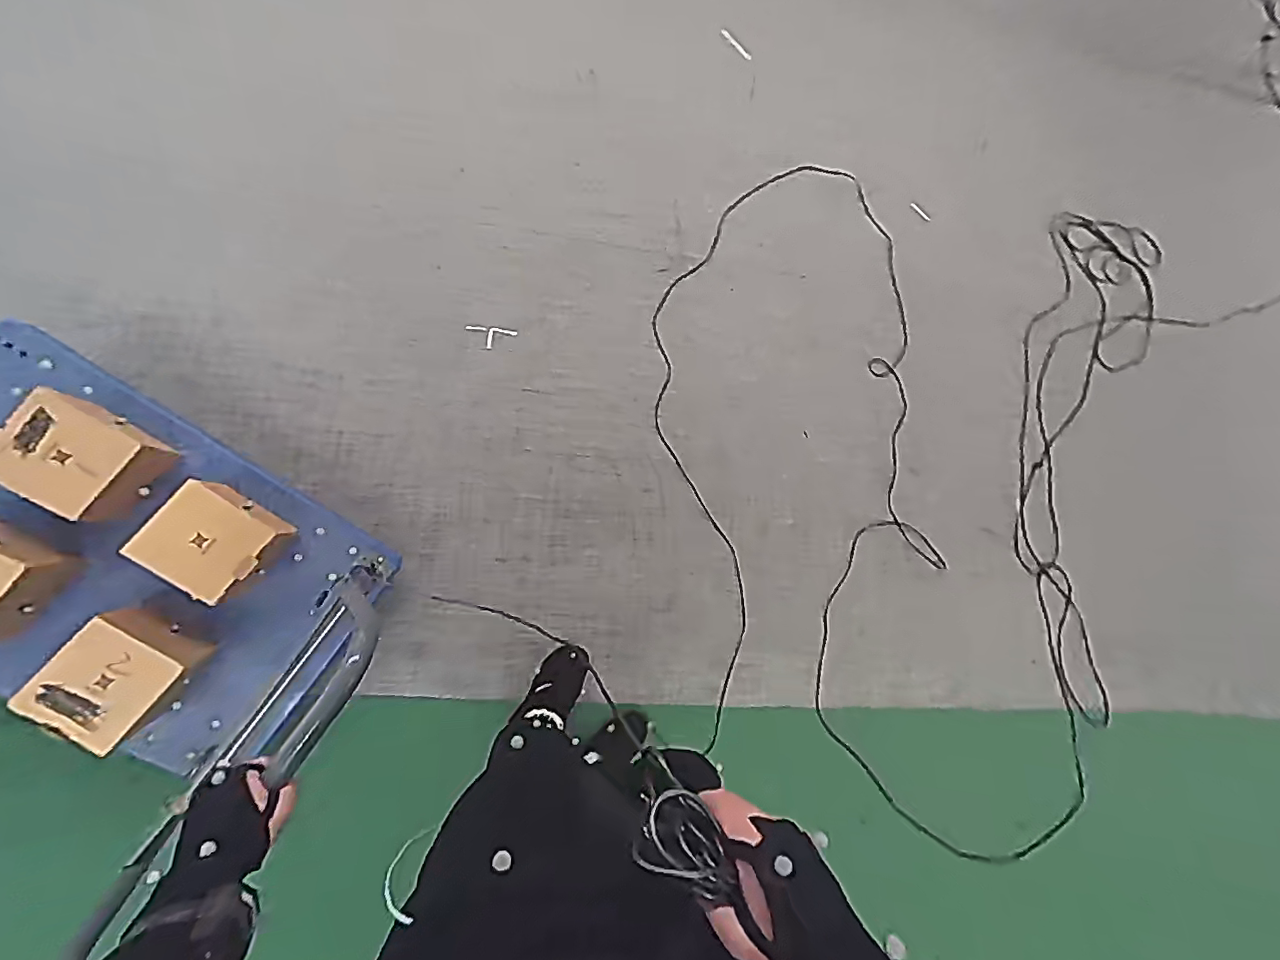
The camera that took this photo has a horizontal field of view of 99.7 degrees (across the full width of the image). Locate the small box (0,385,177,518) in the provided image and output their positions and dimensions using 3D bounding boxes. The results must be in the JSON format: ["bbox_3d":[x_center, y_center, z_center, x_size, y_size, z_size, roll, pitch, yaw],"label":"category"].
[{"bbox_3d":[-1.017,-0.041,0.986,0.179,0.176,0.168,36,75,-16],"label":"small box"}]

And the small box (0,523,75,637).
[{"bbox_3d":[-1.147,0.169,0.918,0.179,0.176,0.168,34,74,-16],"label":"small box"}]

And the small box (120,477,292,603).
[{"bbox_3d":[-0.825,0.116,1.053,0.179,0.176,0.168,39,73,-15],"label":"small box"}]
